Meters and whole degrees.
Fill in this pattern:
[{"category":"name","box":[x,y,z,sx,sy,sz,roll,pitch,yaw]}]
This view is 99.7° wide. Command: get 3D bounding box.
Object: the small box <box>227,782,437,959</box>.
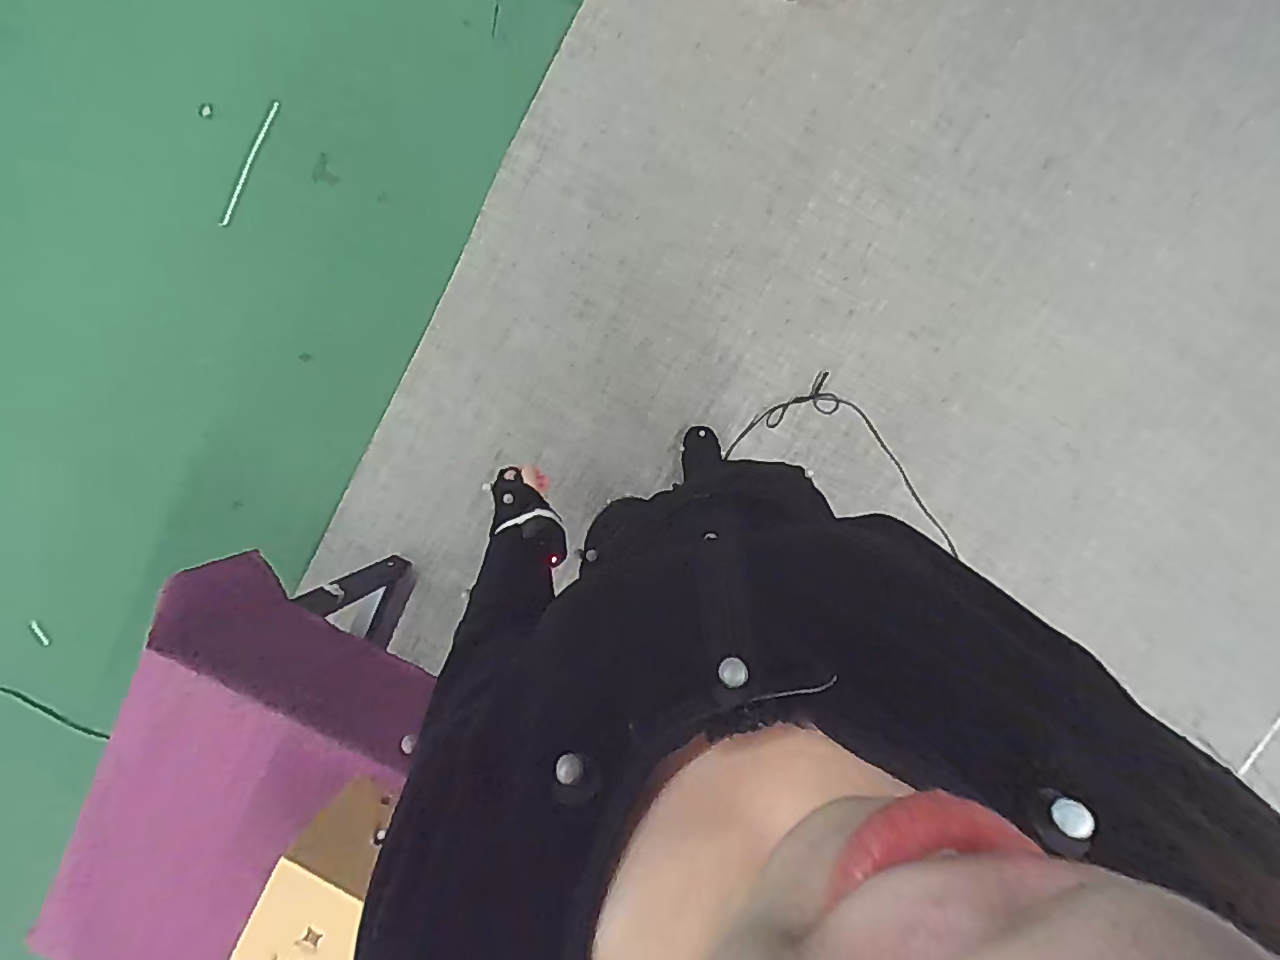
[{"category":"small box","box":[-0.416,0.577,0.765,0.168,0.176,0.179,29,97,1]}]
